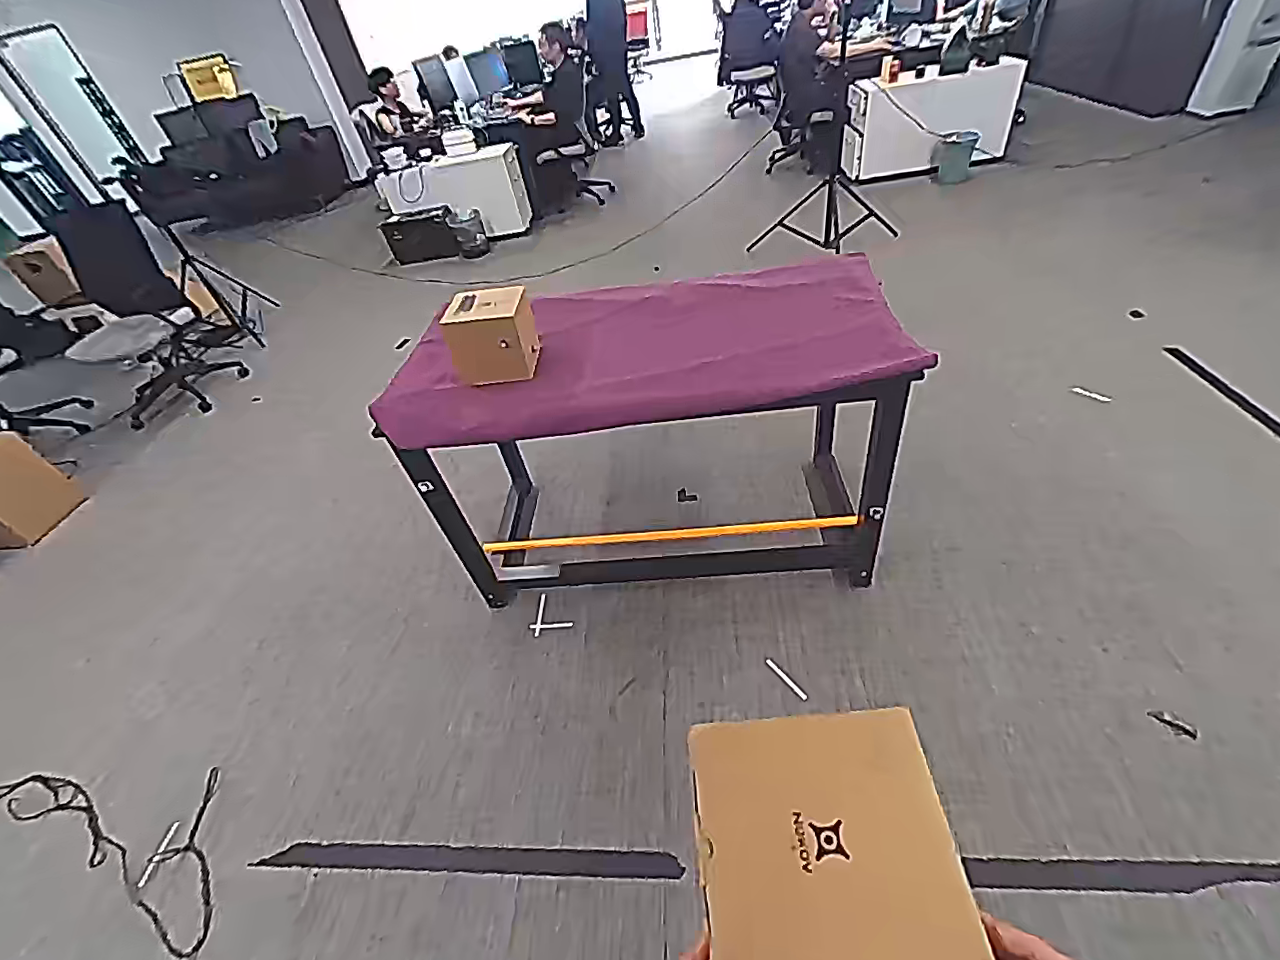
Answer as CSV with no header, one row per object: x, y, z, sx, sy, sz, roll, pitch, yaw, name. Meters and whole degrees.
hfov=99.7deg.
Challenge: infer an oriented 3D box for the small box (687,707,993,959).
0.140,0.299,0.440,0.179,0.176,0.168,-9,51,7,small box
